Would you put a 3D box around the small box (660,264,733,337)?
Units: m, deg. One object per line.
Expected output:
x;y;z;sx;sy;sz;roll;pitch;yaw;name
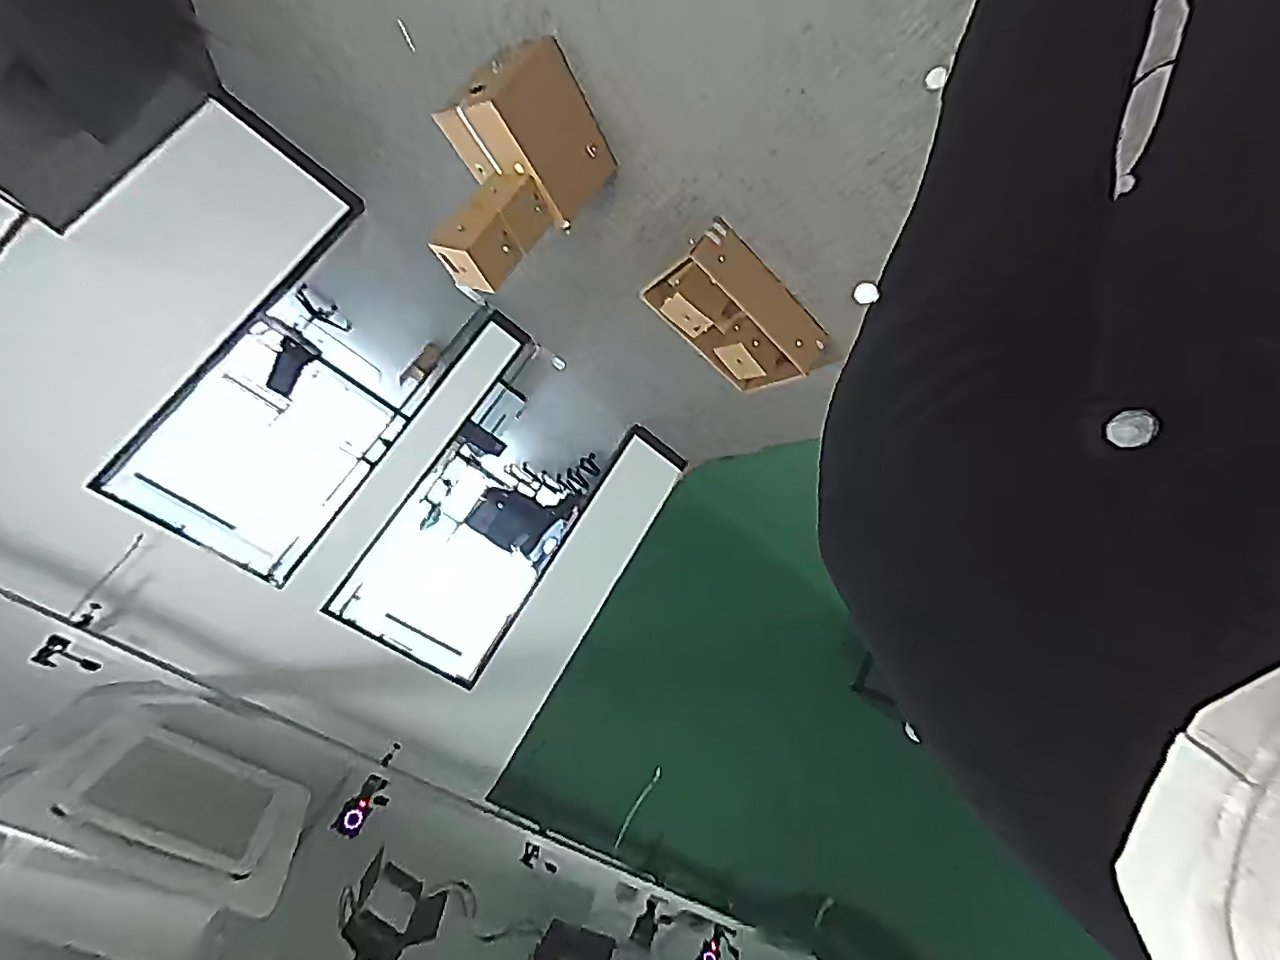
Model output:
0.210;-0.674;2.013;0.179;0.176;0.168;36;164;-16;small box

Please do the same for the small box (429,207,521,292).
-0.504;-0.714;1.670;0.179;0.176;0.168;22;162;28;small box
